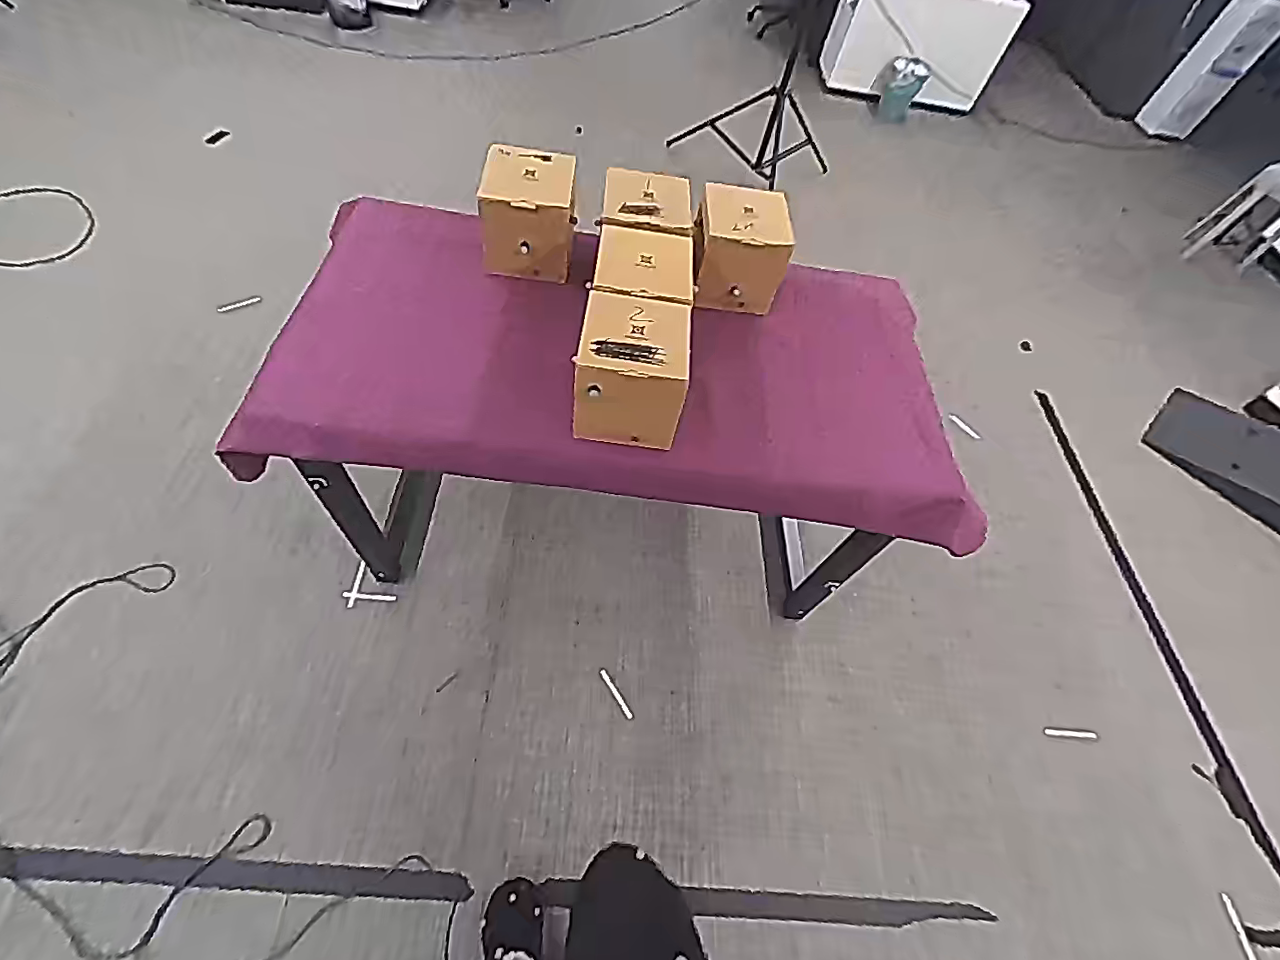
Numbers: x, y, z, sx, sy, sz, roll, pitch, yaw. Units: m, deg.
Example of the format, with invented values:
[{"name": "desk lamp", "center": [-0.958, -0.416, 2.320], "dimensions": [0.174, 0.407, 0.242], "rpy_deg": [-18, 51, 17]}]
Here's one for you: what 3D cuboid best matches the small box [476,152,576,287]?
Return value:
[{"name": "small box", "center": [-0.219, -0.513, 1.078], "dimensions": [0.168, 0.176, 0.179], "rpy_deg": [5, 59, -6]}]
